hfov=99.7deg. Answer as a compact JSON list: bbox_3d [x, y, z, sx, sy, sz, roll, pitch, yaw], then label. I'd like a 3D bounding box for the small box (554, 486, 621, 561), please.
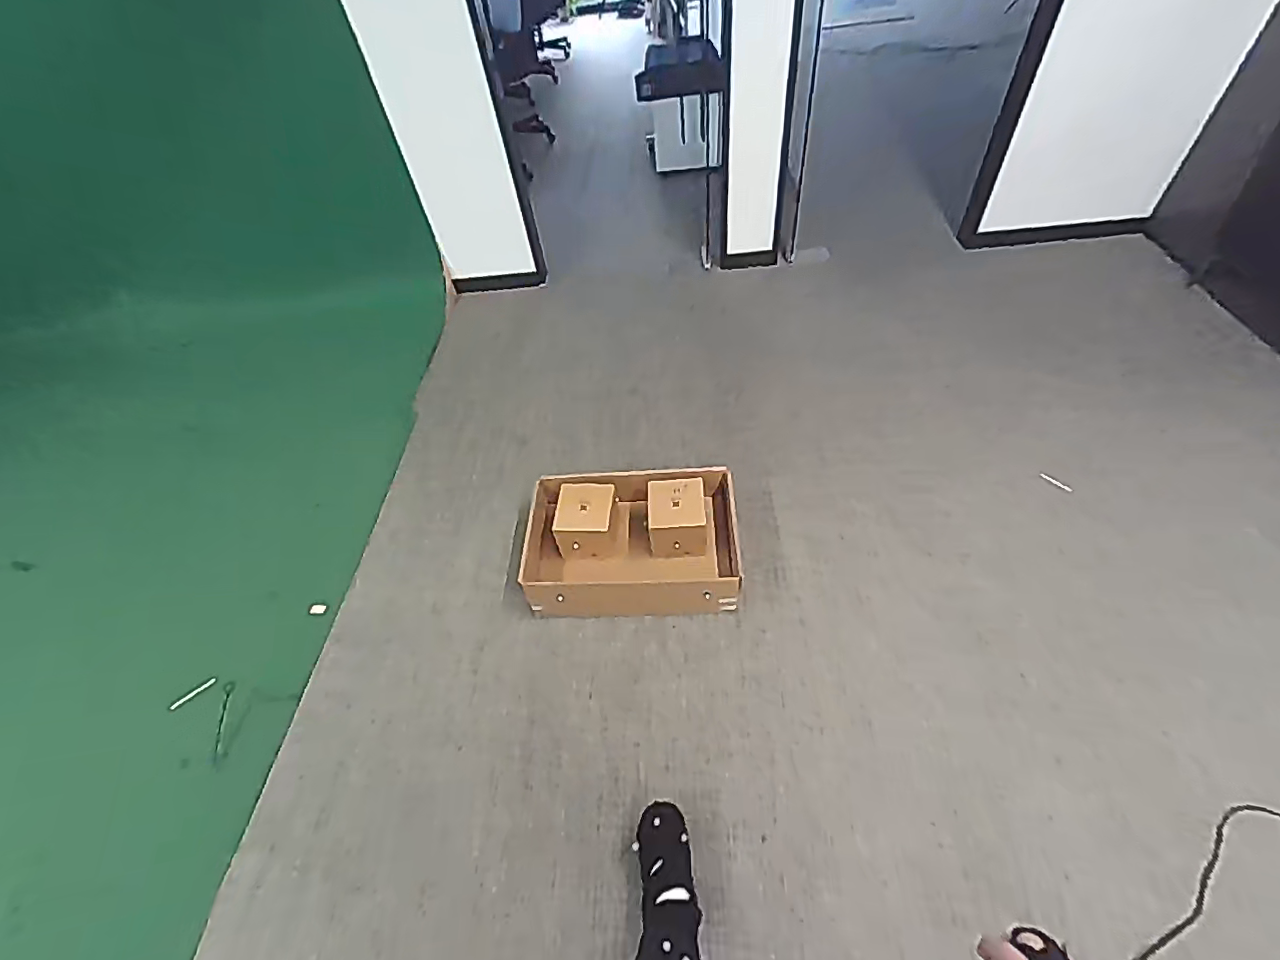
[{"bbox_3d":[-0.153,0.136,1.664,0.168,0.176,0.179,0,50,7],"label":"small box"}]

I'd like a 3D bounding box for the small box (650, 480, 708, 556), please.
[{"bbox_3d":[0.120,0.121,1.637,0.168,0.176,0.179,-3,51,5],"label":"small box"}]
